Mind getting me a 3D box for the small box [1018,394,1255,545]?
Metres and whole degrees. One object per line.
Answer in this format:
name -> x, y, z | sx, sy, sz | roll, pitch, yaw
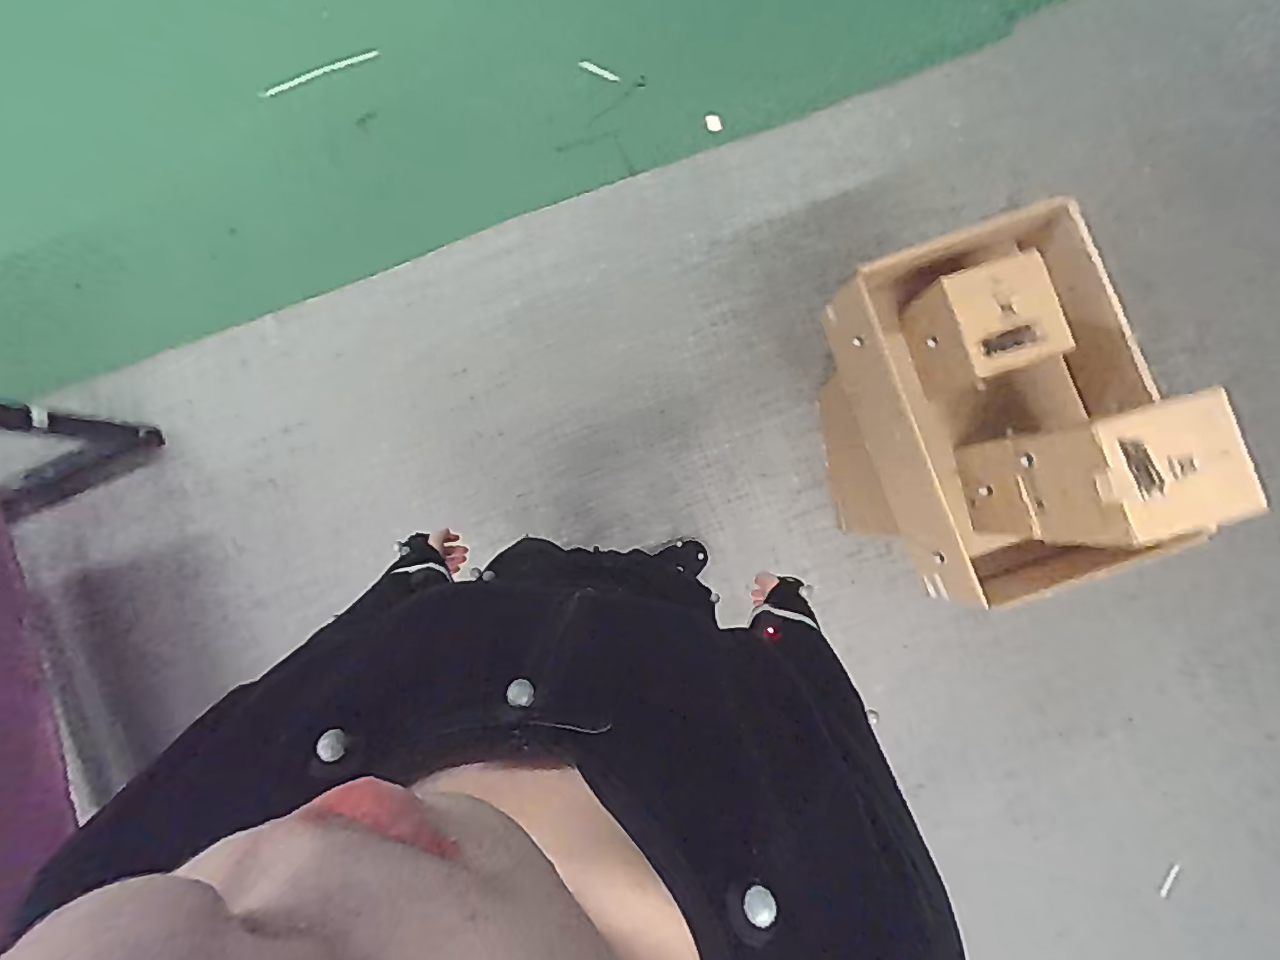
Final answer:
small box -> 0.690, -0.008, 0.781 | 0.179, 0.176, 0.168 | -16, 86, 0
